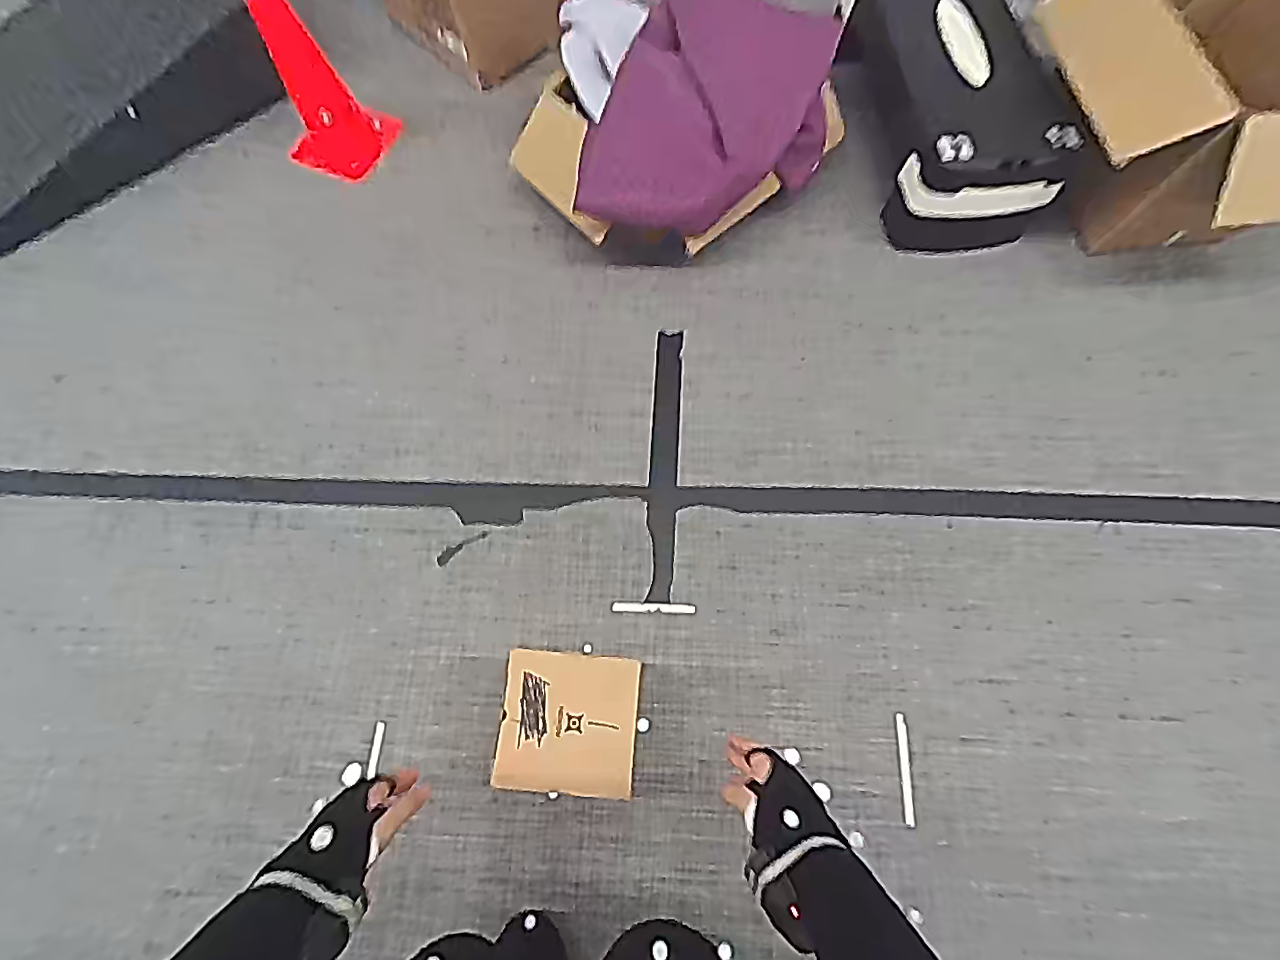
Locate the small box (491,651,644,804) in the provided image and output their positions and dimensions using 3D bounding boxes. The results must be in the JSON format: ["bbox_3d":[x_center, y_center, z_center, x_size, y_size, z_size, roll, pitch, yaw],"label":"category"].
[{"bbox_3d":[-0.089,0.337,0.762,0.179,0.176,0.168,5,71,2],"label":"small box"}]
